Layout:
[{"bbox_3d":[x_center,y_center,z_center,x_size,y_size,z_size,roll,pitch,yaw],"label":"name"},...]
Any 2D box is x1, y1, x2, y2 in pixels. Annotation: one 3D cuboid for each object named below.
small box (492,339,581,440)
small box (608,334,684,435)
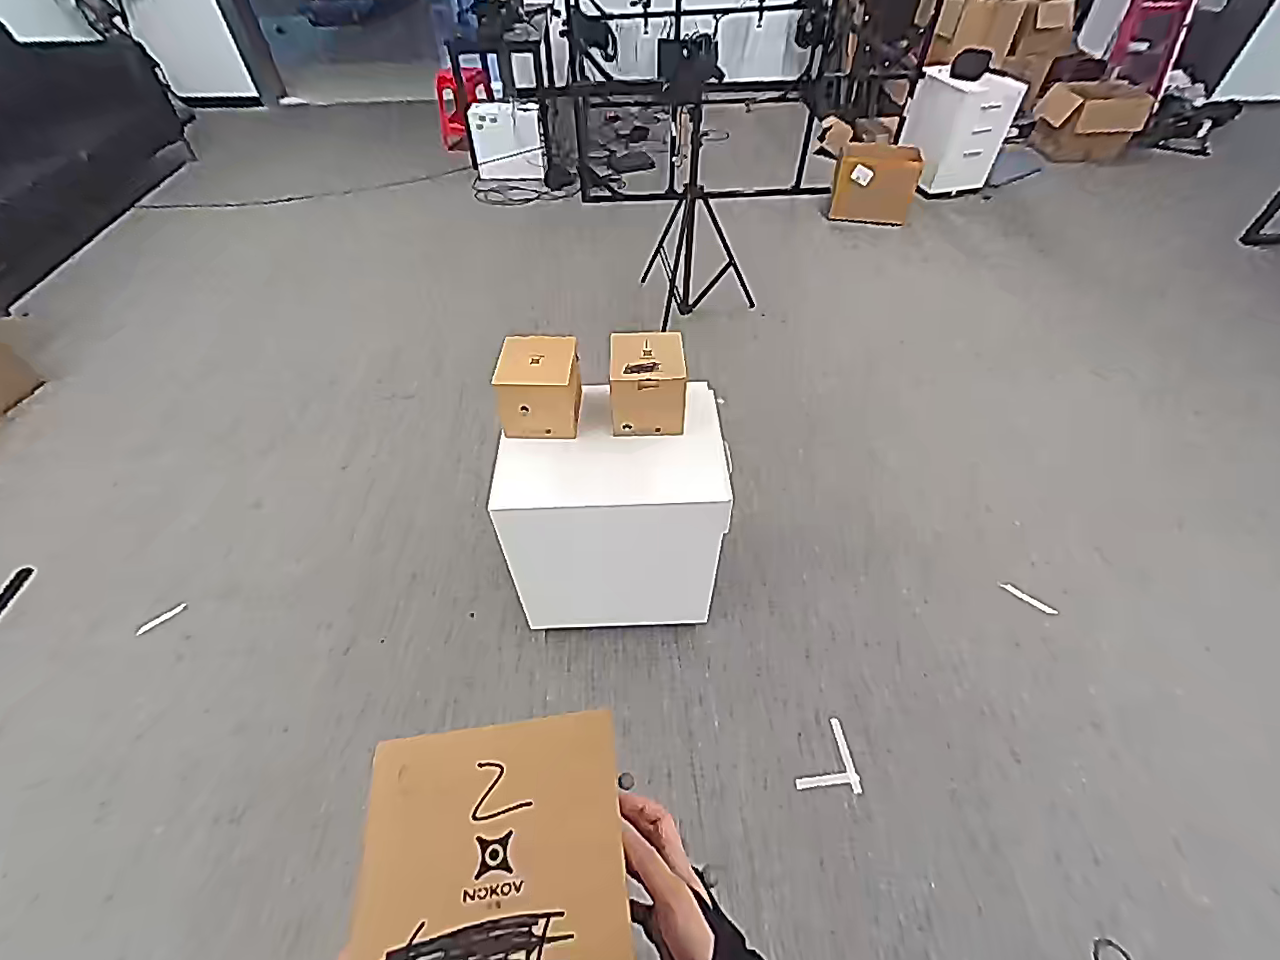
[{"bbox_3d":[-0.230,-0.207,1.253,0.168,0.176,0.179,1,49,1],"label":"small box"},{"bbox_3d":[0.016,-0.218,1.259,0.168,0.176,0.179,-1,49,0],"label":"small box"}]
